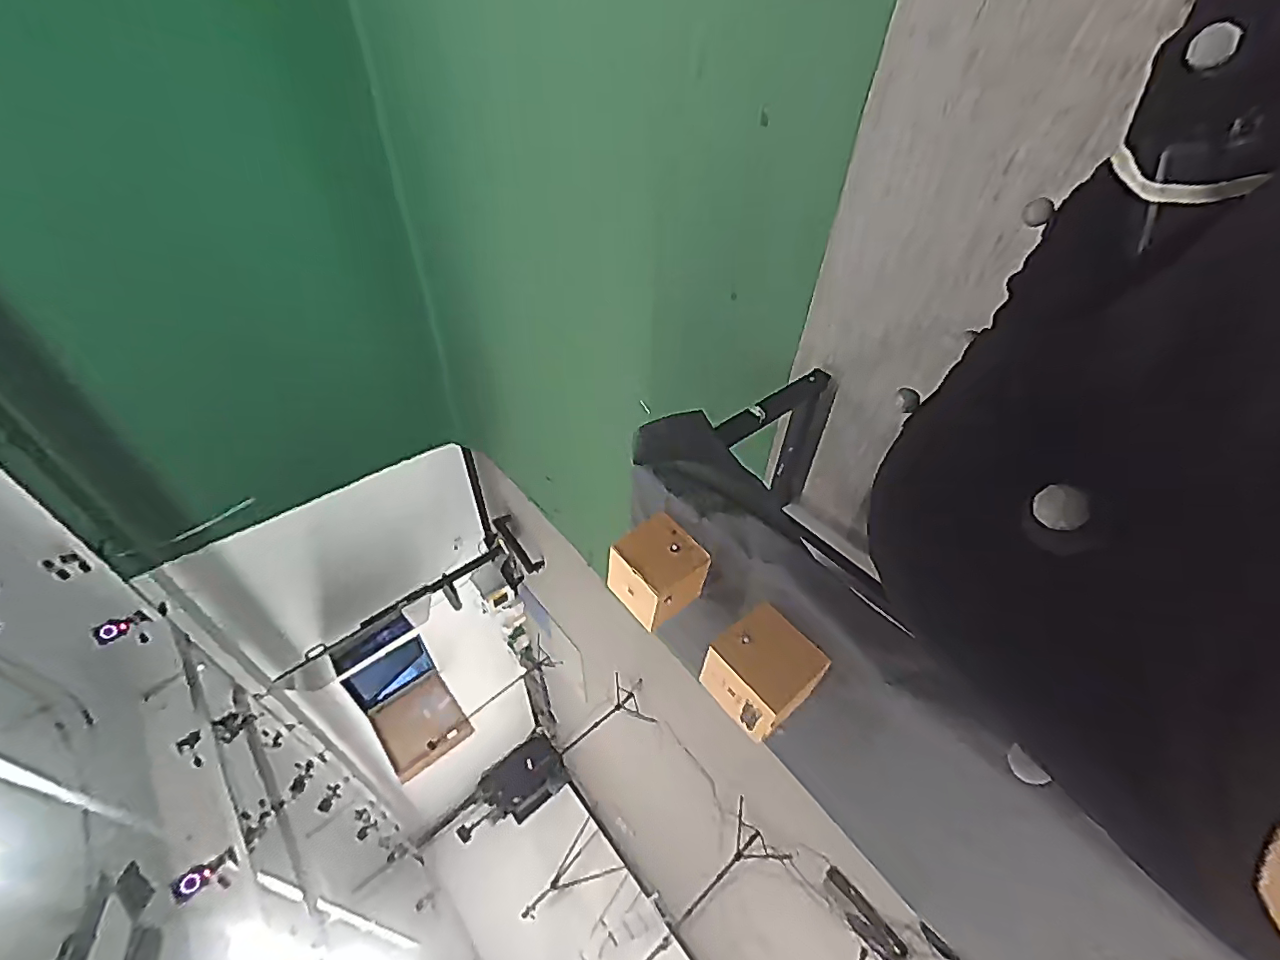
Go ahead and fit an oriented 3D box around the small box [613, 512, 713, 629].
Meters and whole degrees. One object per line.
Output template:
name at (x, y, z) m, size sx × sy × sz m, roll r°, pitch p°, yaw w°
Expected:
small box at (0.052, 0.211, 1.279) m, size 0.168 × 0.176 × 0.179 m, roll 43°, pitch 147°, yaw 28°
